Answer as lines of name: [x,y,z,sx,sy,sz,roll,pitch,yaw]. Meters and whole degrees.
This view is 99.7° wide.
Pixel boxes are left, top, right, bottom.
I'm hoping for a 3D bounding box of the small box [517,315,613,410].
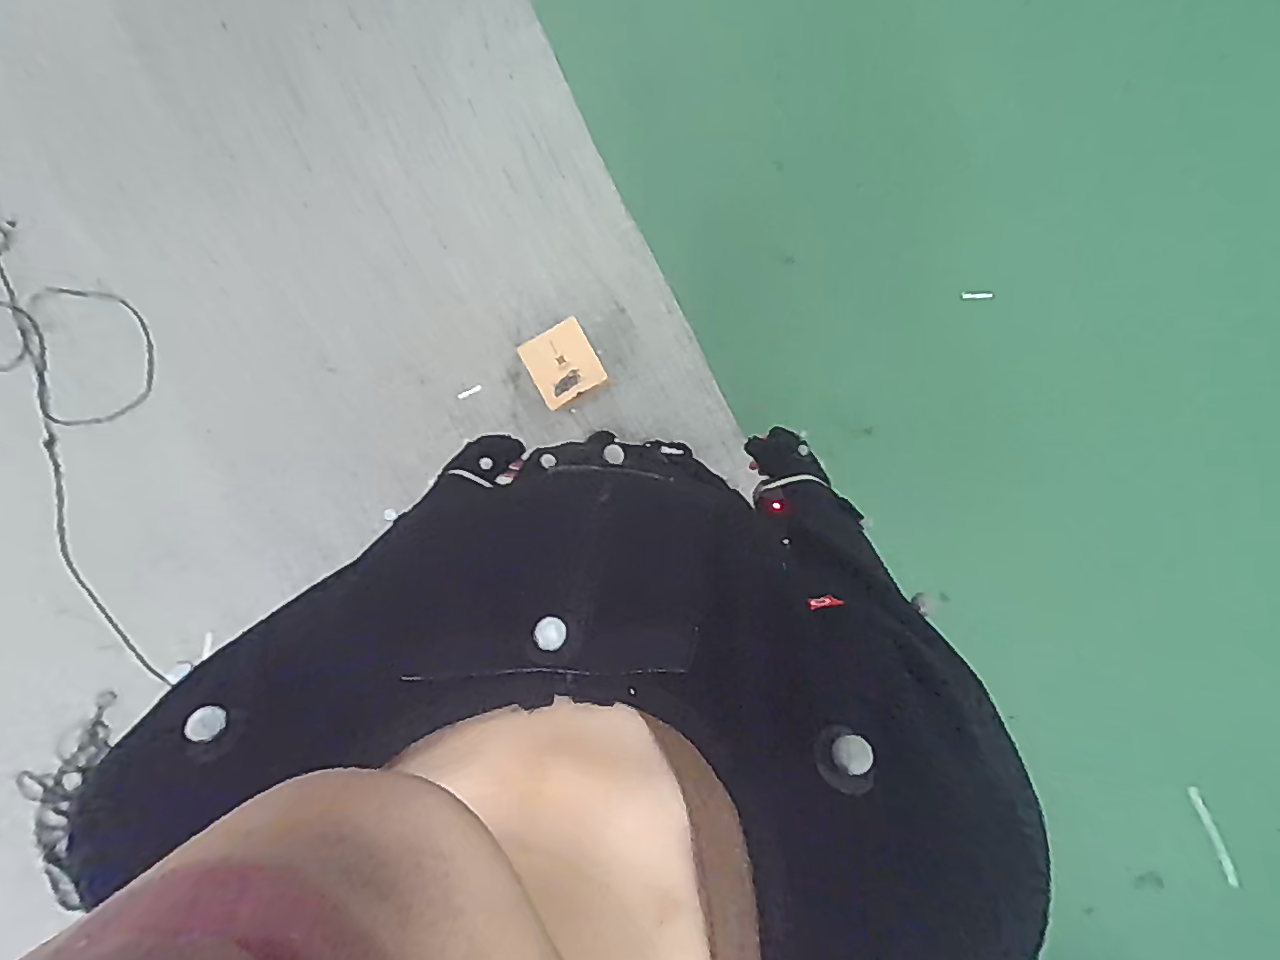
small box: [-0.183,-0.292,1.382,0.168,0.176,0.179,-29,93,5]
